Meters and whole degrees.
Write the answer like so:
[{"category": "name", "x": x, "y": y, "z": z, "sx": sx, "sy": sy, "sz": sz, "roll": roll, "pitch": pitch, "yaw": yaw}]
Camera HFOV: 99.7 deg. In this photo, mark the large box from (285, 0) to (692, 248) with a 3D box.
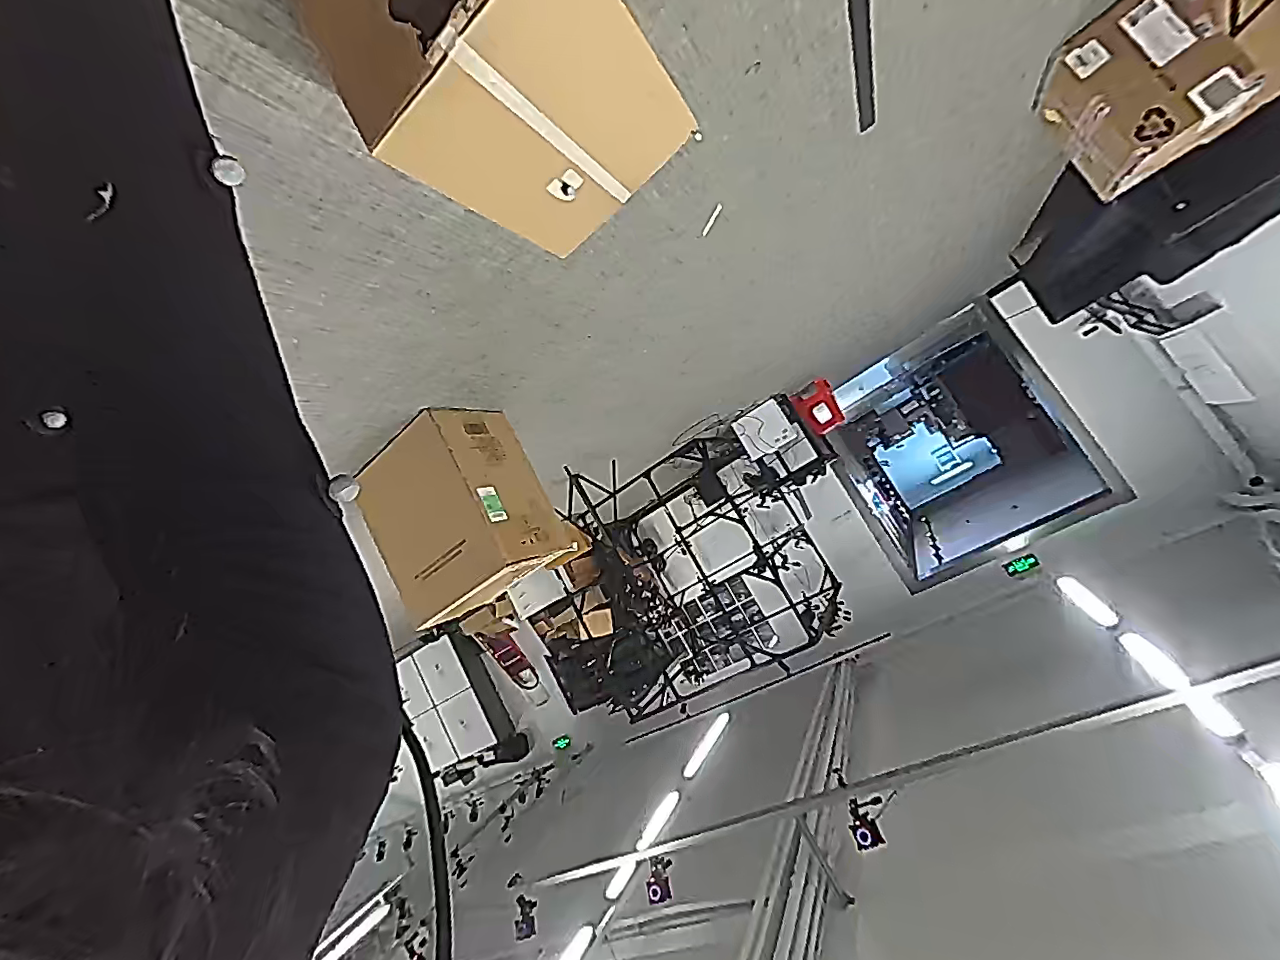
[{"category": "large box", "x": -0.190, "y": -0.599, "z": 0.750, "sx": 0.320, "sy": 0.320, "sz": 0.408, "roll": -33, "pitch": 171, "yaw": 23}]
